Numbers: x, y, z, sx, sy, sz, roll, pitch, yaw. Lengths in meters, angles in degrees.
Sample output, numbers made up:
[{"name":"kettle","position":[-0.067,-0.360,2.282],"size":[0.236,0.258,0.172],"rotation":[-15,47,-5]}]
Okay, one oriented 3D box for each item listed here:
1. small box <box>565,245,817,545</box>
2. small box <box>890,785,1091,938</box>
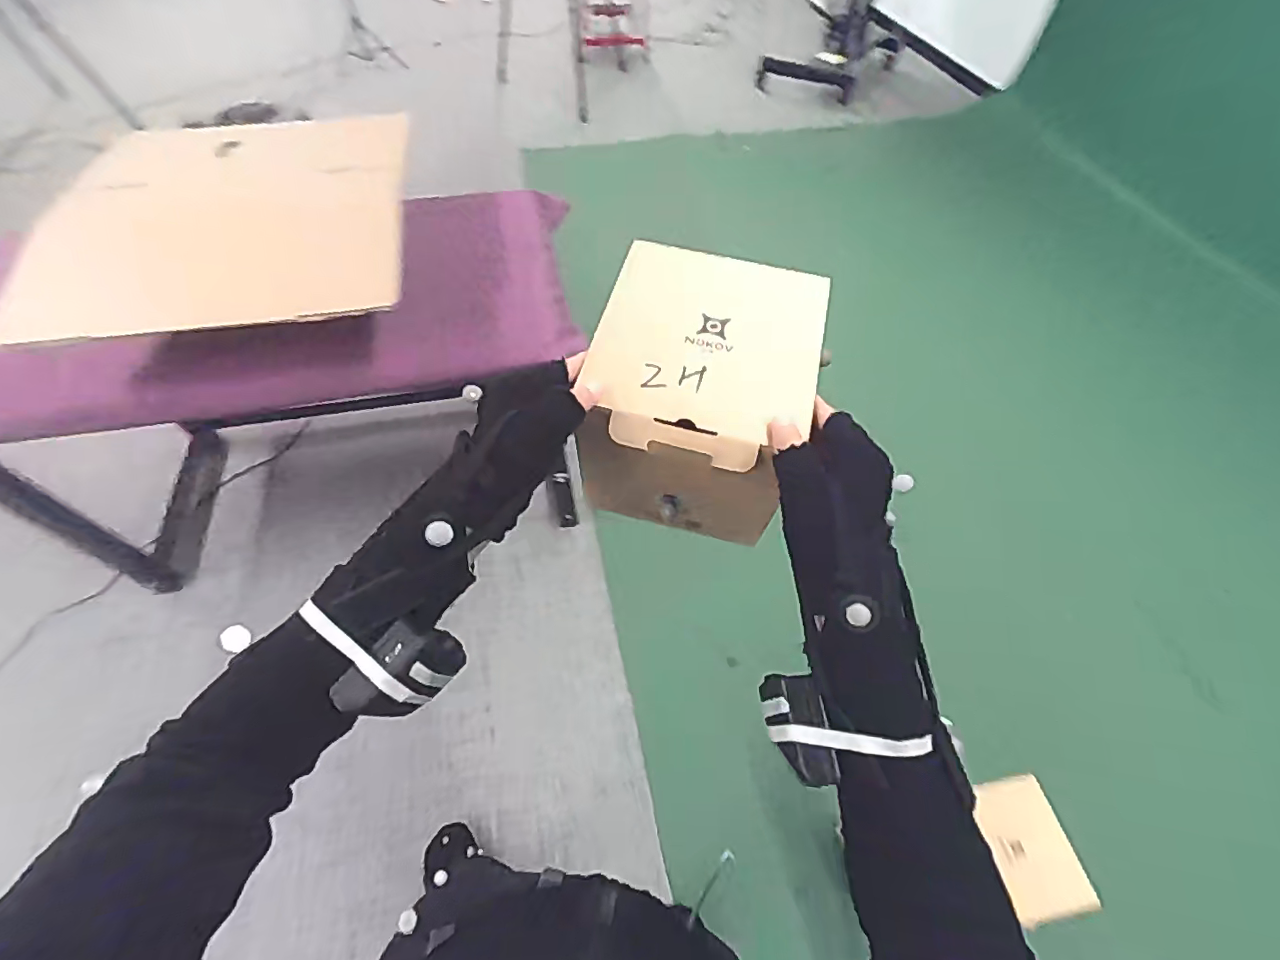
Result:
[{"name":"small box","position":[0.042,-0.067,0.477],"size":[0.168,0.176,0.179],"rotation":[14,62,5]},{"name":"small box","position":[0.542,0.600,0.867],"size":[0.179,0.176,0.168],"rotation":[-7,57,-8]}]
